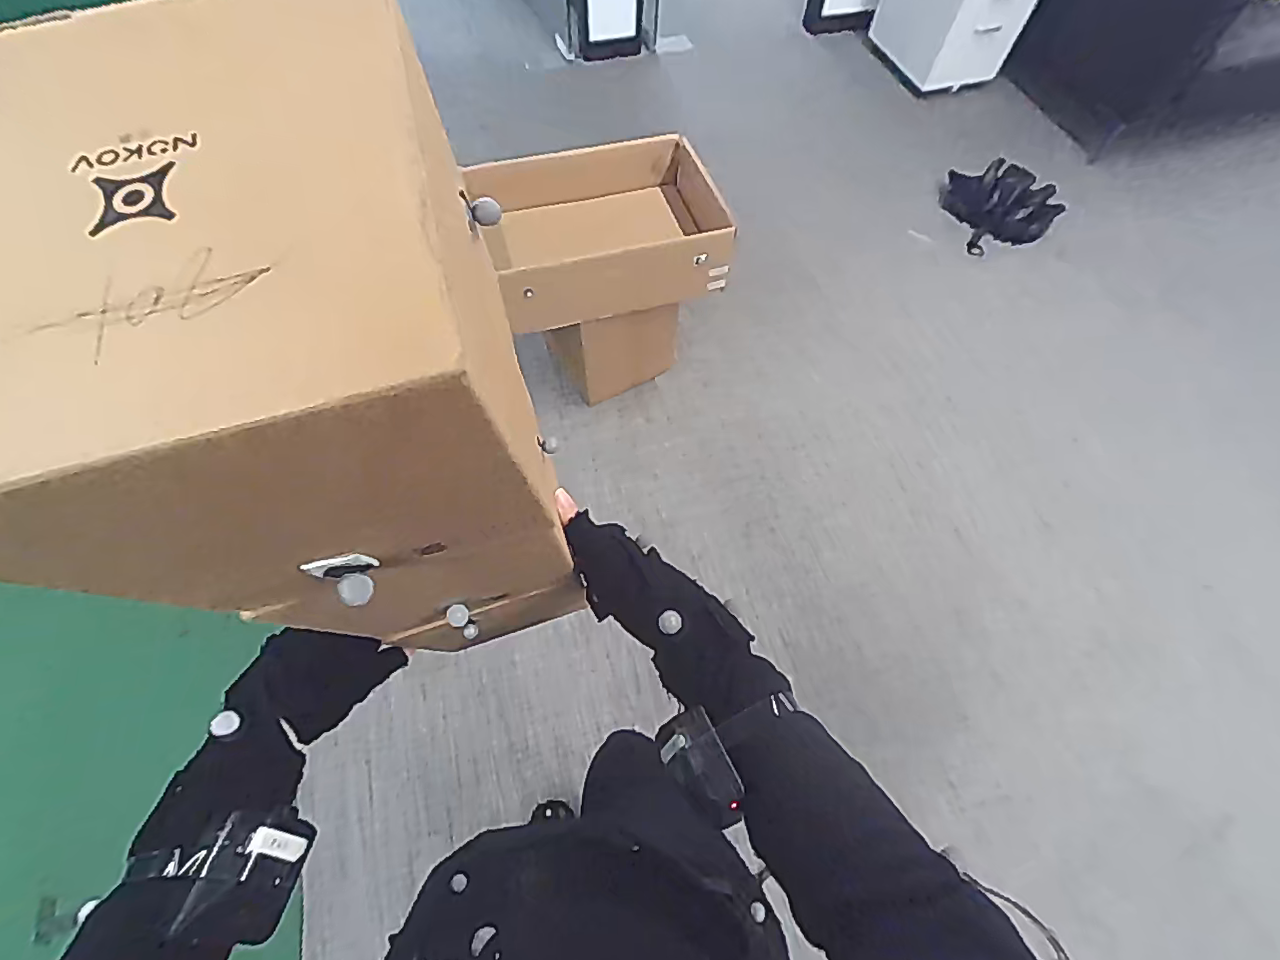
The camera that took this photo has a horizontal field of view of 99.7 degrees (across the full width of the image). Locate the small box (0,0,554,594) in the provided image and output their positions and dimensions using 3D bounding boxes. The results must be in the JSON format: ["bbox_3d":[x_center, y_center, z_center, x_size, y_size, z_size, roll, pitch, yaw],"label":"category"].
[{"bbox_3d":[-0.147,-0.062,0.244,0.168,0.176,0.179,-16,72,-5],"label":"small box"}]

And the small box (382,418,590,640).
[{"bbox_3d":[-0.155,0.051,0.551,0.168,0.176,0.179,-17,71,-6],"label":"small box"}]

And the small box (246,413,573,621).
[{"bbox_3d":[-0.154,-0.009,0.396,0.168,0.176,0.179,-16,72,-6],"label":"small box"}]
